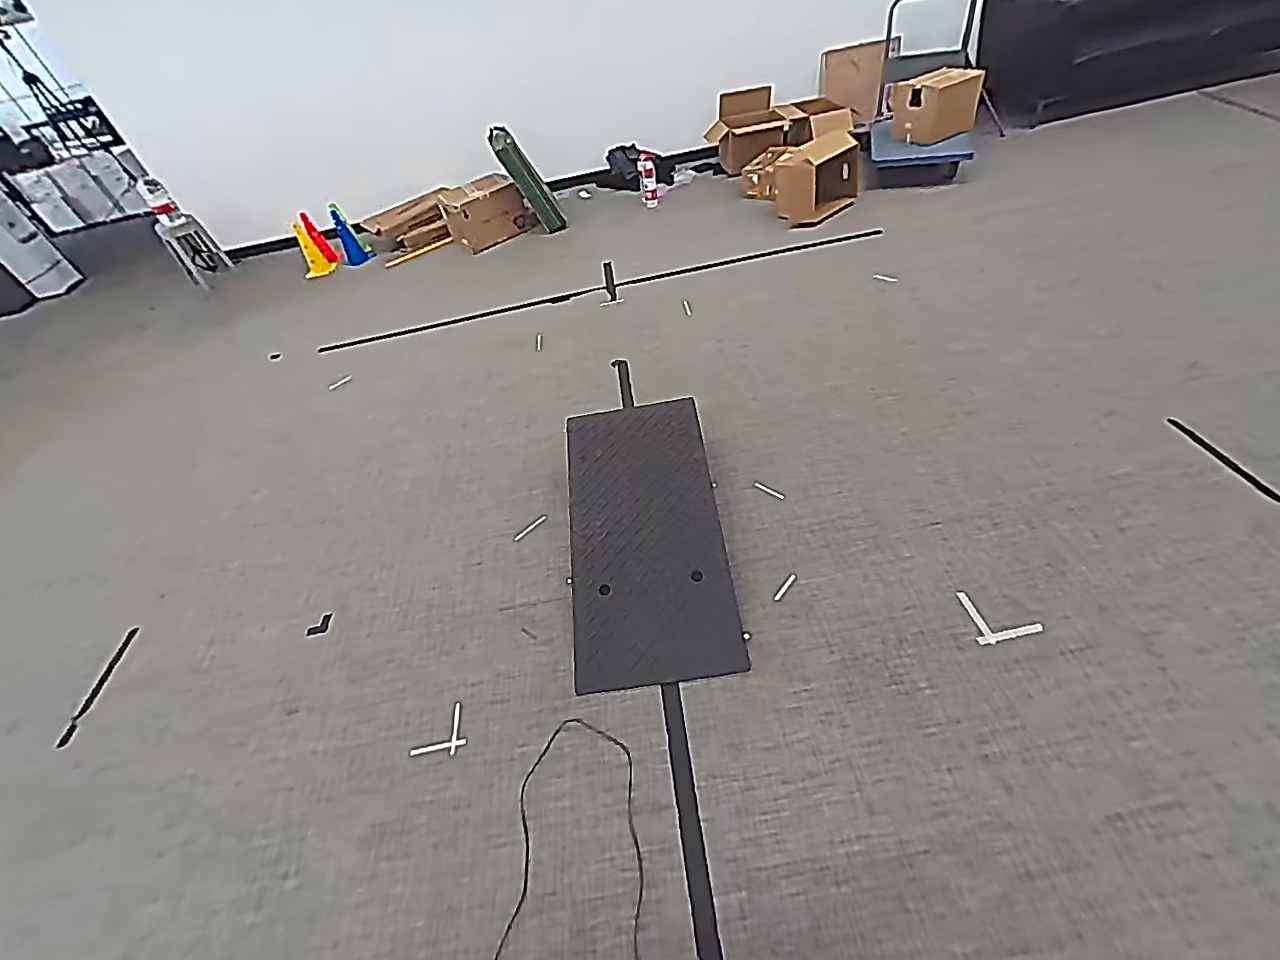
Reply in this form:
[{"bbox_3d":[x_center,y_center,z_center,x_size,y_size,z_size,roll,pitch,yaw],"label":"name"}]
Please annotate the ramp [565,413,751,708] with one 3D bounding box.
[{"bbox_3d":[0.013,0.193,1.780,0.509,0.206,0.991,-11,44,1],"label":"ramp"}]
